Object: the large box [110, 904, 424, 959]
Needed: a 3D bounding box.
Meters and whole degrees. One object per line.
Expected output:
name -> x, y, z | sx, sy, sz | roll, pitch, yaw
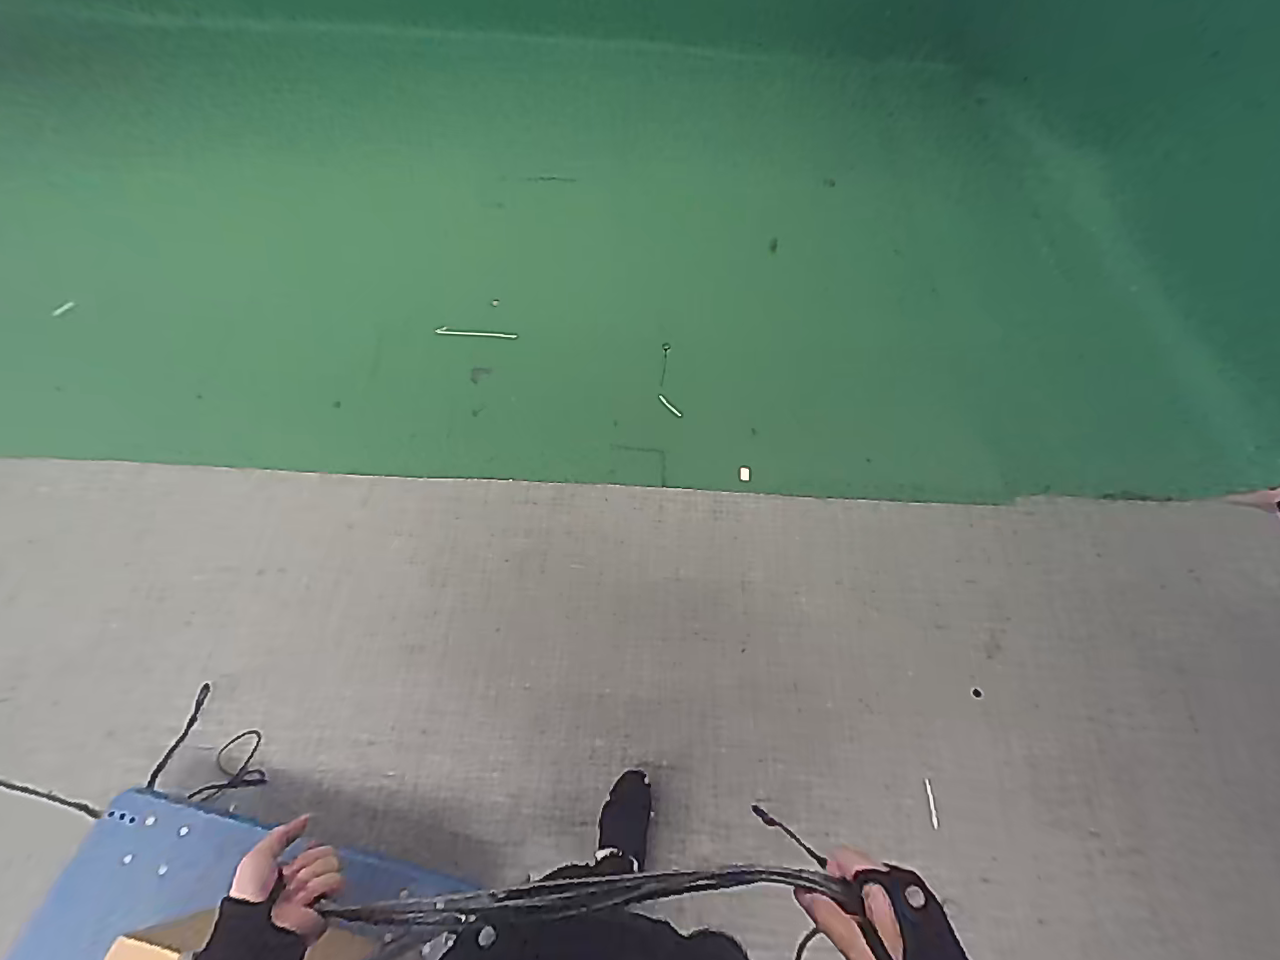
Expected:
large box -> -0.634, 0.941, 0.867 | 0.408, 0.320, 0.320 | 11, 60, 6
